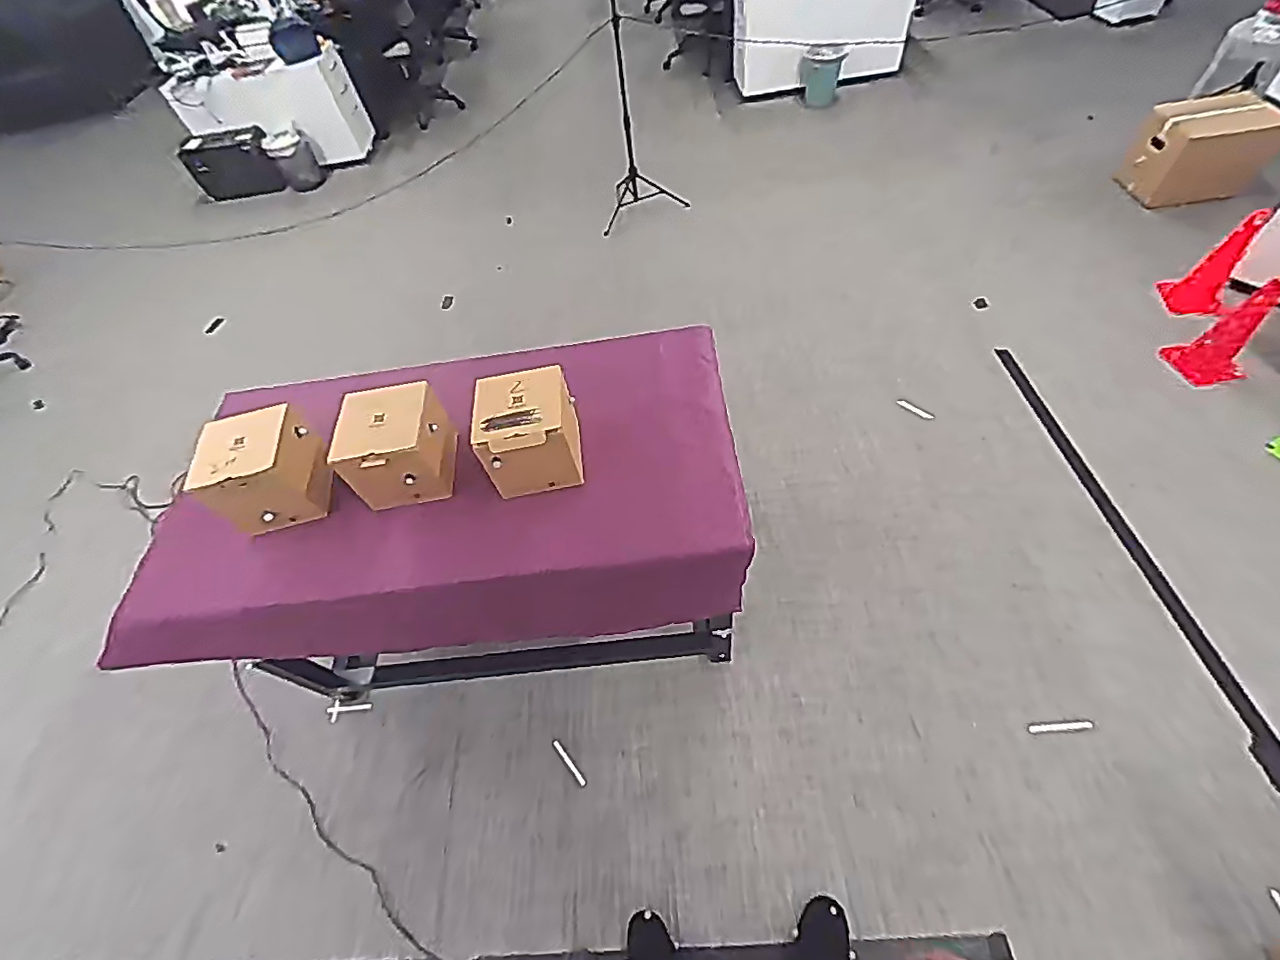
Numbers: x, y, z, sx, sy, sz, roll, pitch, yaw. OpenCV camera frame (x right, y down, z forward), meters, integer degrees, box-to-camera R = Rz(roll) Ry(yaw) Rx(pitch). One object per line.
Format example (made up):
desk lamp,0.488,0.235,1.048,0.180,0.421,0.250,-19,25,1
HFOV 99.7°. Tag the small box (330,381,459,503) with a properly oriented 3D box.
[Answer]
small box,-0.475,-0.067,1.076,0.168,0.176,0.179,-9,54,1

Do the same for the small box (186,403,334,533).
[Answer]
small box,-0.741,-0.021,1.080,0.168,0.176,0.179,-15,55,-2
